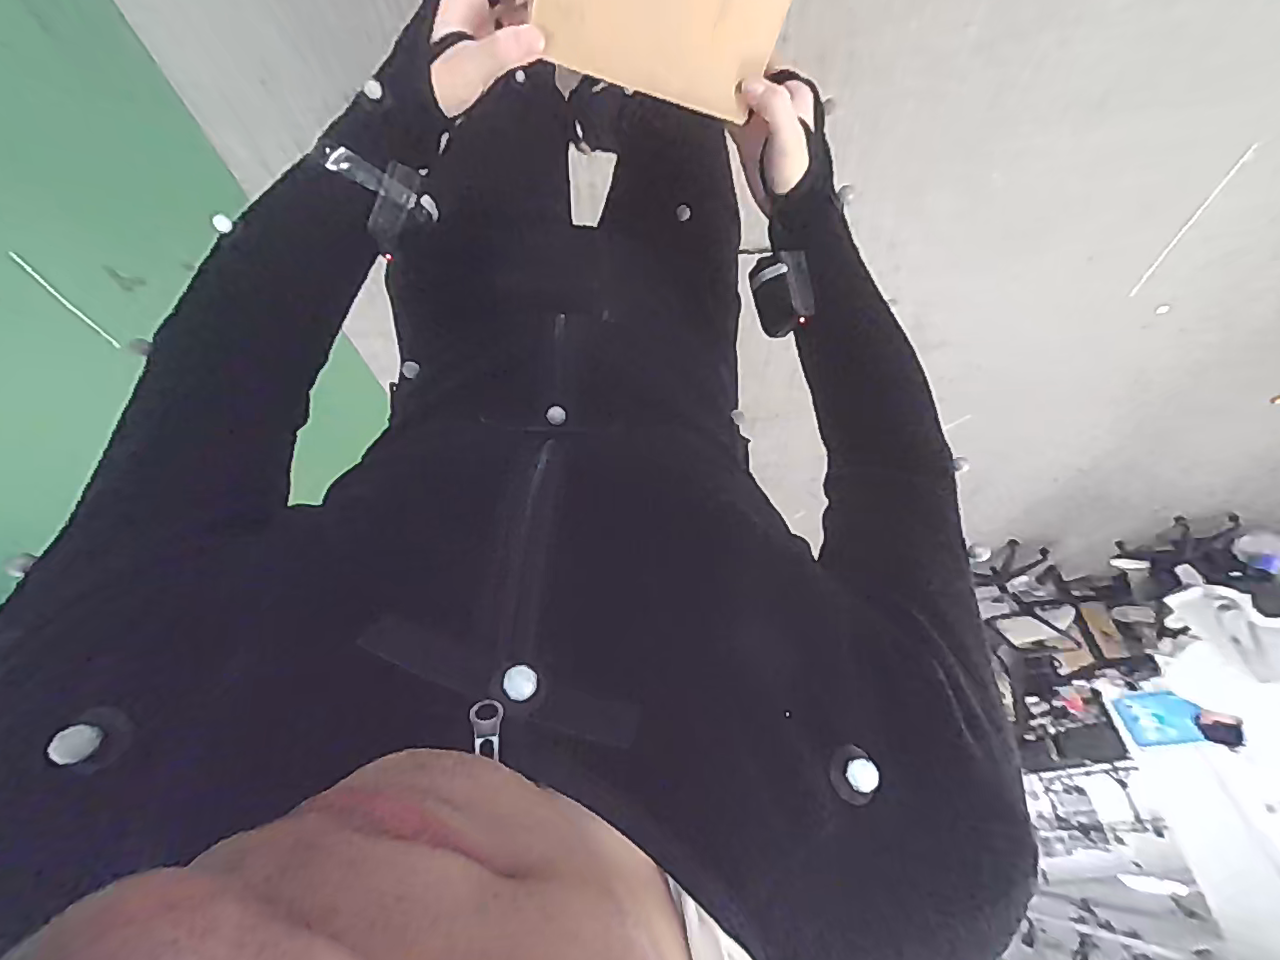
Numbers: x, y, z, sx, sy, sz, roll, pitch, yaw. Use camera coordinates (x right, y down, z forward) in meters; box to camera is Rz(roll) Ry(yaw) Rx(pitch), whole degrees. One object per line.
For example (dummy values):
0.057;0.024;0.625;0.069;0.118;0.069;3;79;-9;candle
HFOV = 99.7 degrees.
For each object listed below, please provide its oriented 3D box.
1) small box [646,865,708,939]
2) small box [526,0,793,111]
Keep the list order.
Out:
0.122;1.380;1.779;0.179;0.176;0.168;-9;148;5;small box
0.020;-0.409;0.389;0.179;0.176;0.168;6;141;-15;small box
